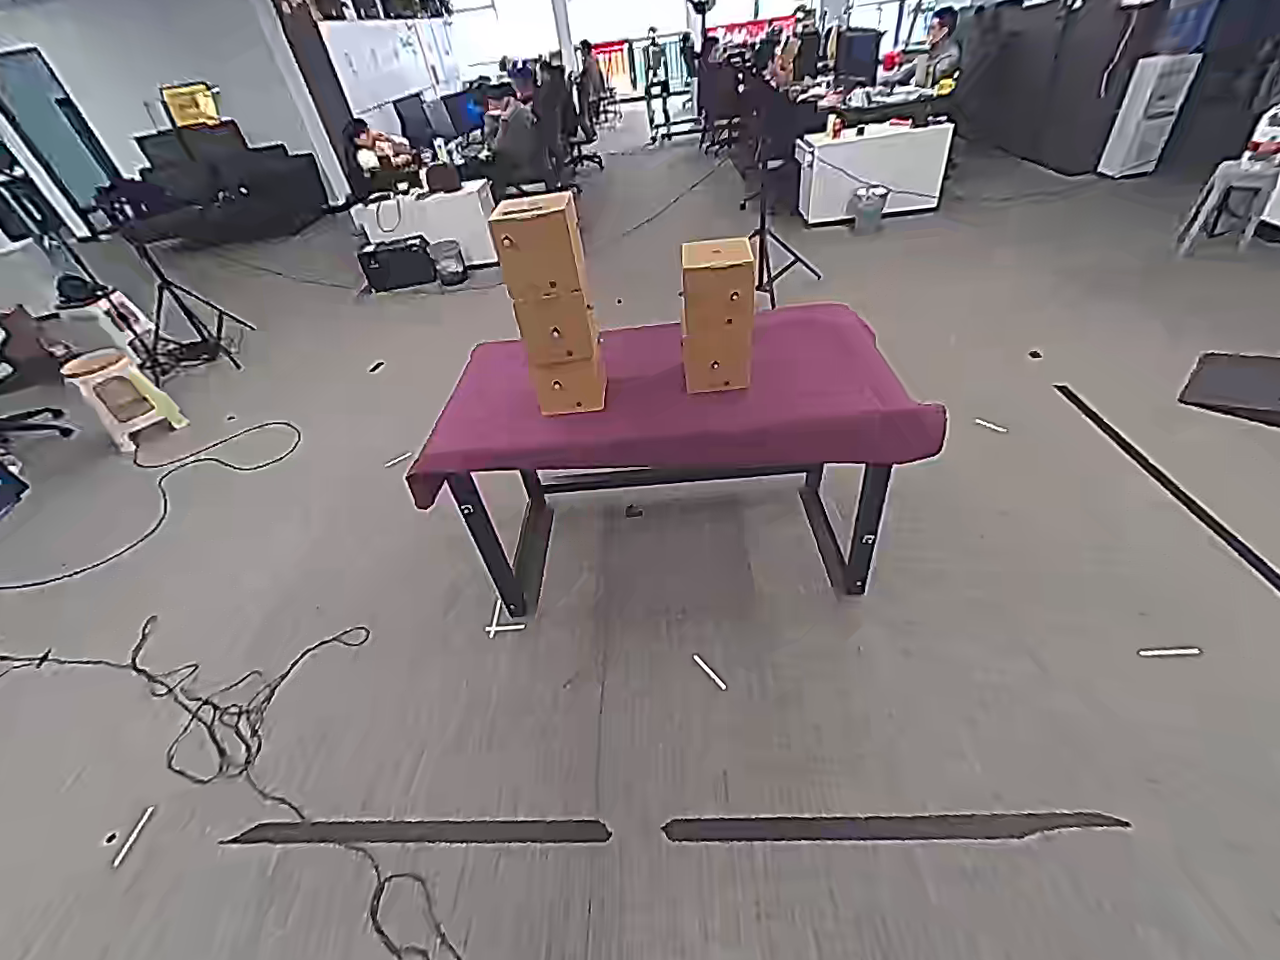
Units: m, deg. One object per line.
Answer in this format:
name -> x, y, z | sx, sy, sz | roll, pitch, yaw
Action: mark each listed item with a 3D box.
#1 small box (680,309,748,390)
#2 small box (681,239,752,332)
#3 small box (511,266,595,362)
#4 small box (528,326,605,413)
small box -> 0.197, -0.351, 1.444 | 0.168, 0.176, 0.179 | -5, 41, 5
small box -> 0.189, -0.476, 1.340 | 0.168, 0.176, 0.179 | -3, 40, 6
small box -> -0.206, -0.400, 1.328 | 0.168, 0.176, 0.179 | -8, 41, 1
small box -> -0.189, -0.291, 1.451 | 0.168, 0.176, 0.179 | -5, 40, 5
